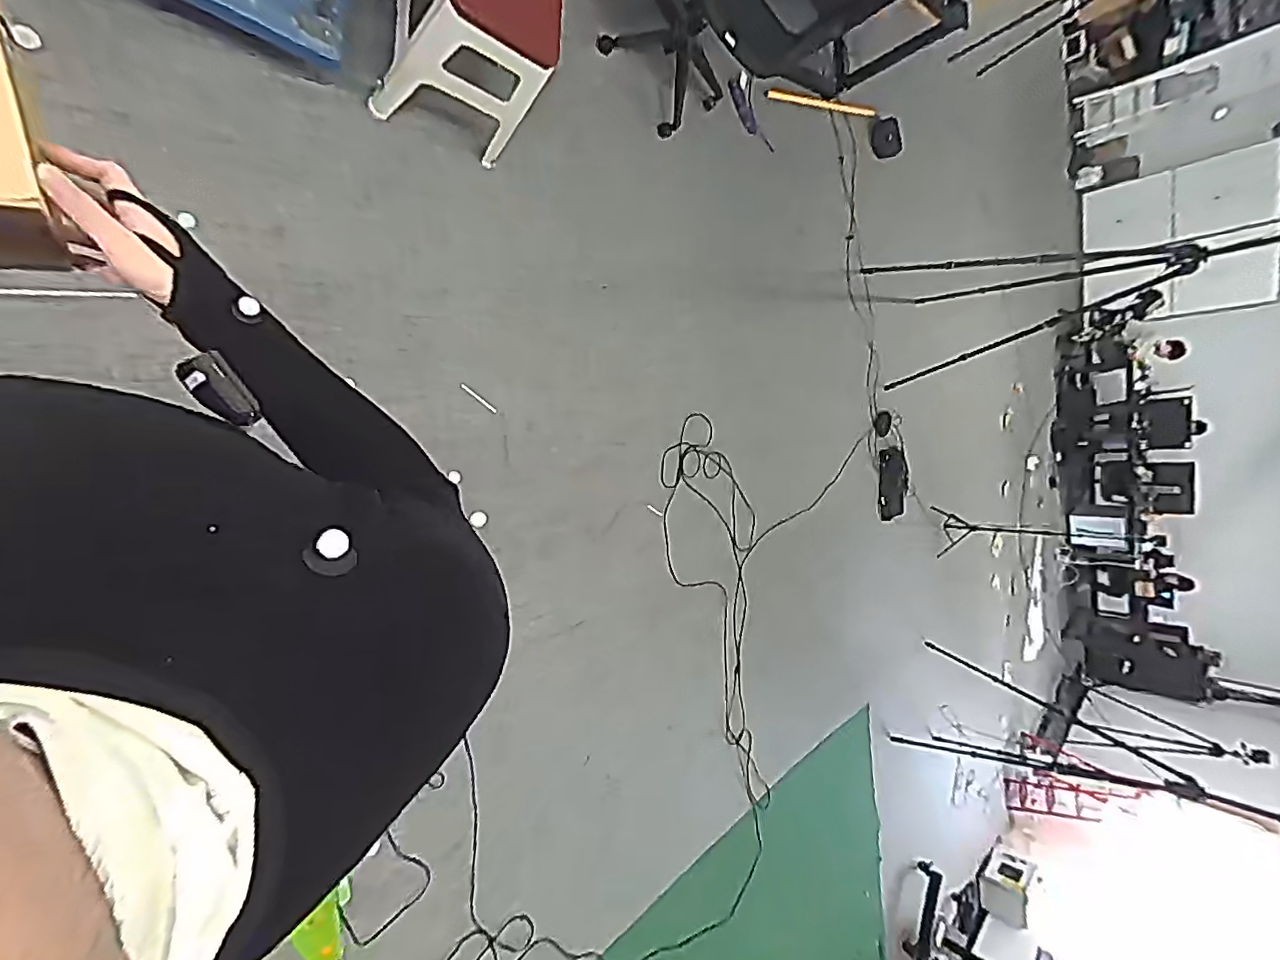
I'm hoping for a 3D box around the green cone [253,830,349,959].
[{"bbox_3d":[-0.800,1.096,1.344,0.202,0.368,0.200,-15,102,-41],"label":"green cone"}]

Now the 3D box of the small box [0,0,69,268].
[{"bbox_3d":[-0.527,-0.259,0.362,0.168,0.176,0.179,-13,101,-40],"label":"small box"}]
